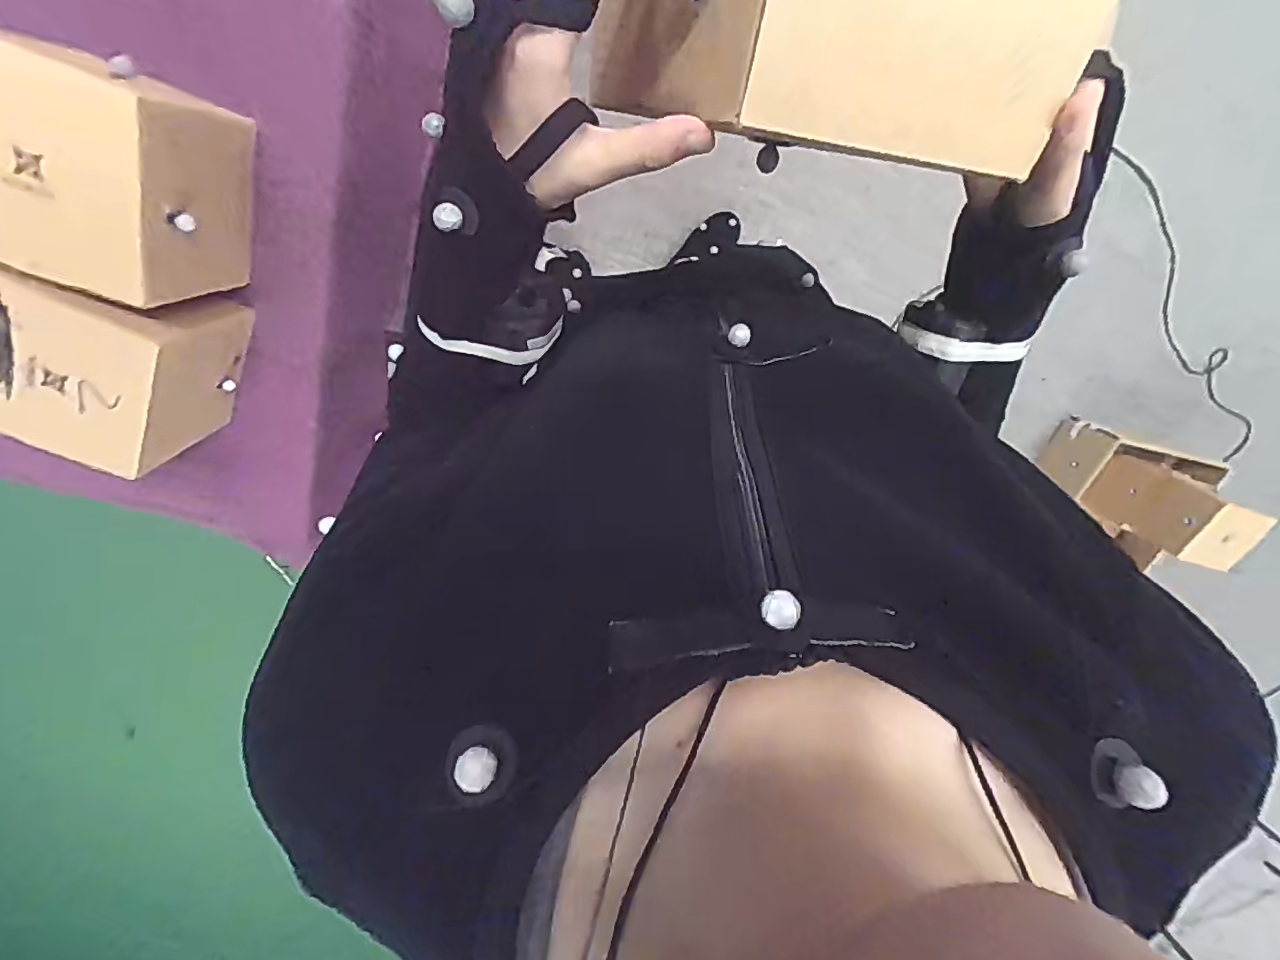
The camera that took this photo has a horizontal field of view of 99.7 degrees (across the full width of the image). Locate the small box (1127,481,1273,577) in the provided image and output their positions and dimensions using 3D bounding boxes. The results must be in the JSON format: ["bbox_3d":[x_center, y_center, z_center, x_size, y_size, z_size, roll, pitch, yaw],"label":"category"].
[{"bbox_3d":[1.473,0.125,1.438,0.168,0.176,0.179,15,116,-9],"label":"small box"}]
